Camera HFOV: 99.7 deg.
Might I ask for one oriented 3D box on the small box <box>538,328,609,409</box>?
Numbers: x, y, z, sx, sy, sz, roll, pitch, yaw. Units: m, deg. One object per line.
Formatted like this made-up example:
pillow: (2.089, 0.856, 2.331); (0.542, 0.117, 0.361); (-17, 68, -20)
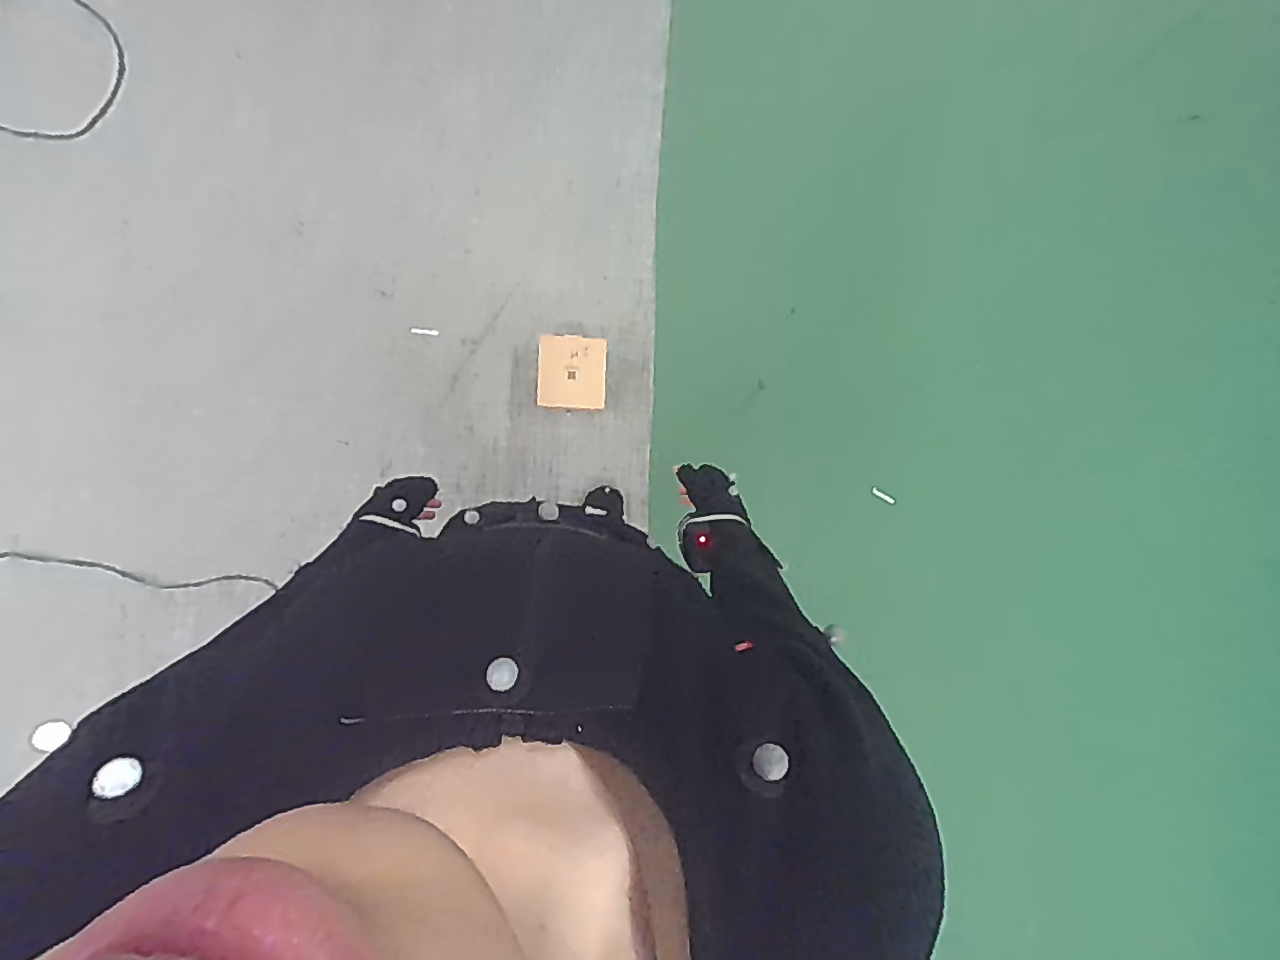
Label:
small box: (-0.168, -0.277, 1.381); (0.168, 0.176, 0.179); (2, 93, -7)
